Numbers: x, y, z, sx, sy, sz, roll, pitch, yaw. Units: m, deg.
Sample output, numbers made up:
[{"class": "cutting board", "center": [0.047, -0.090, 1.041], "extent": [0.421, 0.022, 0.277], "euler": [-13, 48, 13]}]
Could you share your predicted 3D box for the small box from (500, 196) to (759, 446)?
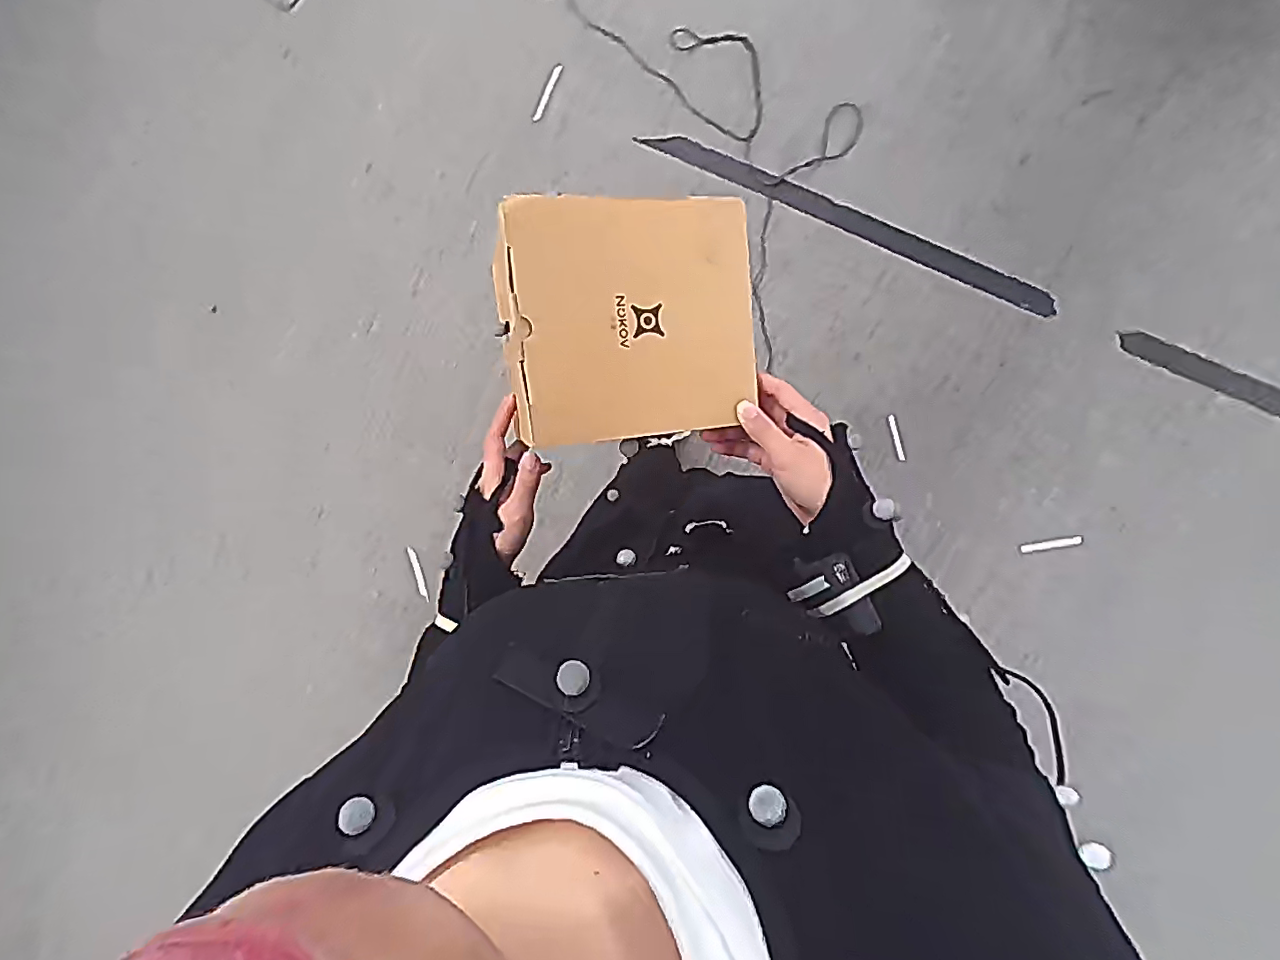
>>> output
[{"class": "small box", "center": [-0.018, -0.124, 0.460], "extent": [0.179, 0.176, 0.168], "euler": [-8, 99, -15]}]
